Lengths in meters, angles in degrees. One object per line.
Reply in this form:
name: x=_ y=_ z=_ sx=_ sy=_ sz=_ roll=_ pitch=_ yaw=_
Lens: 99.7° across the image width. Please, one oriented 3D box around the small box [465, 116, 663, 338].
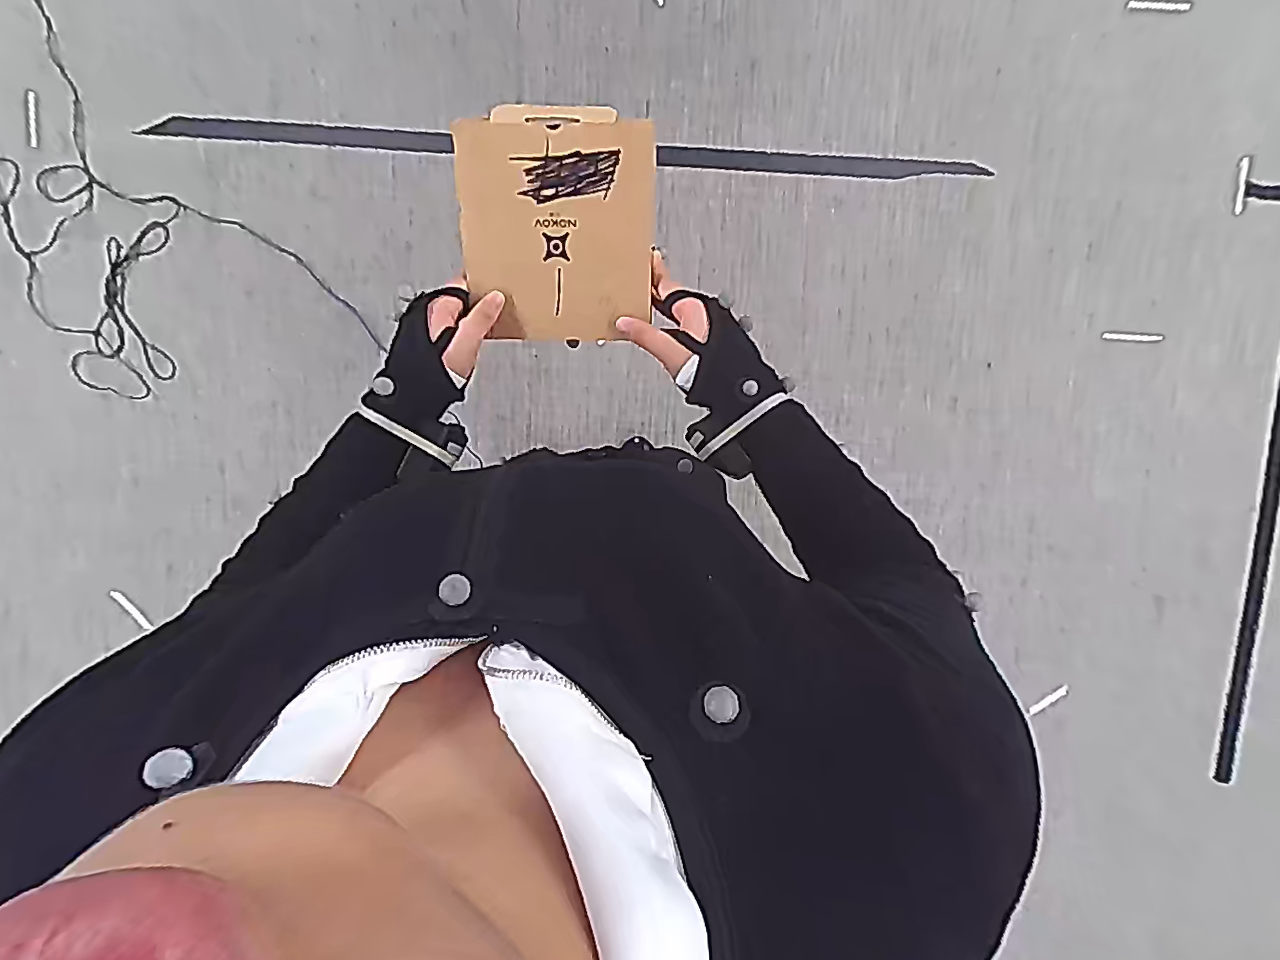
small box: x=-0.063 y=-0.241 z=0.545 sx=0.168 sy=0.176 sz=0.179 roll=1 pitch=110 yaw=2
